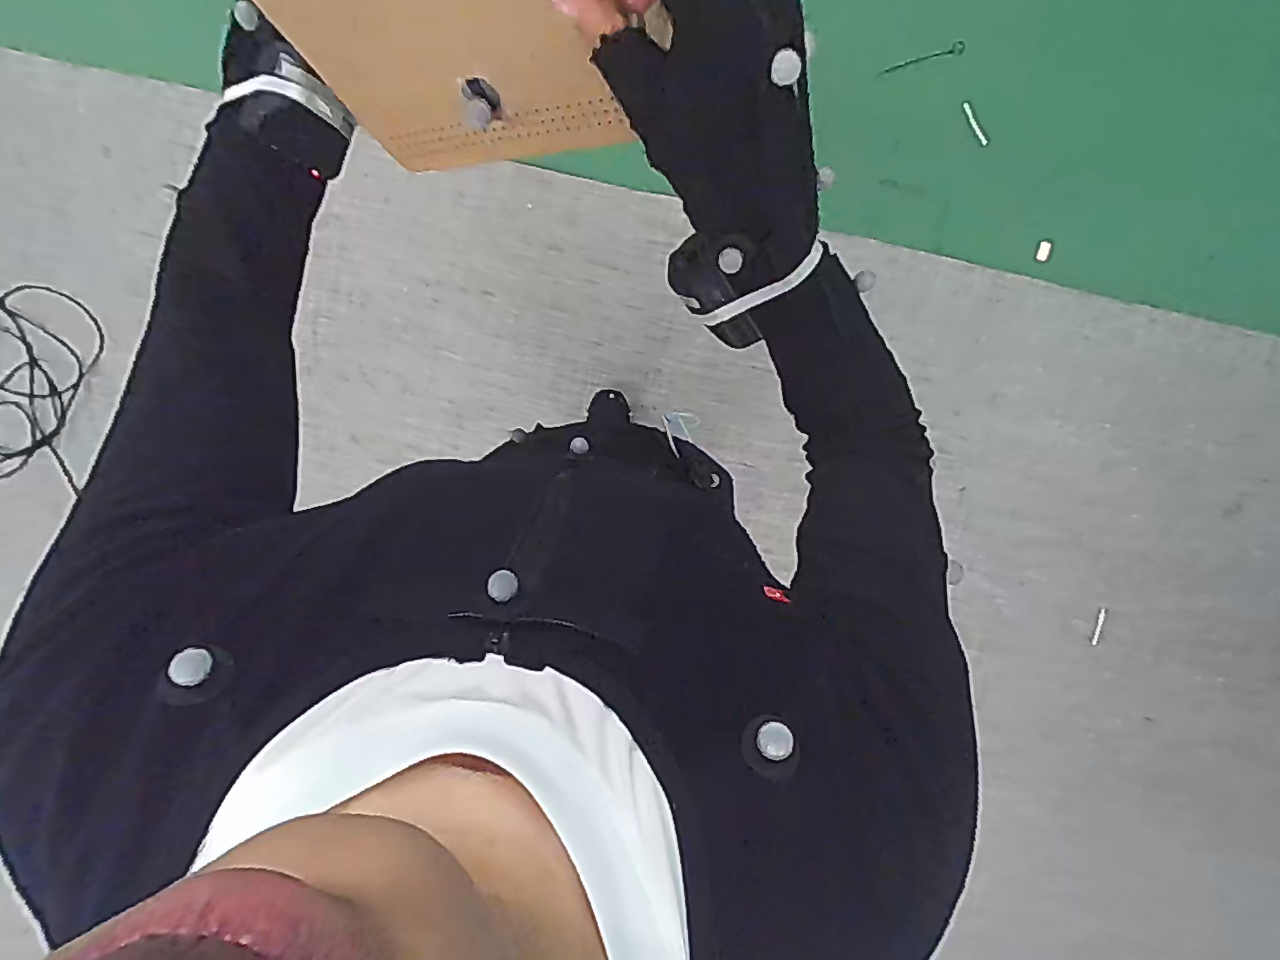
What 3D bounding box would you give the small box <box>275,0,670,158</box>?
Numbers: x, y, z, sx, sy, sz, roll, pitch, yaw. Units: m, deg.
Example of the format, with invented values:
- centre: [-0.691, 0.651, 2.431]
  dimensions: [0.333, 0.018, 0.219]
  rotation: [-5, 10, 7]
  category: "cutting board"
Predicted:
- centre: [-0.083, -0.303, 0.279]
  dimensions: [0.179, 0.176, 0.168]
  rotation: [5, 76, 20]
  category: "small box"
